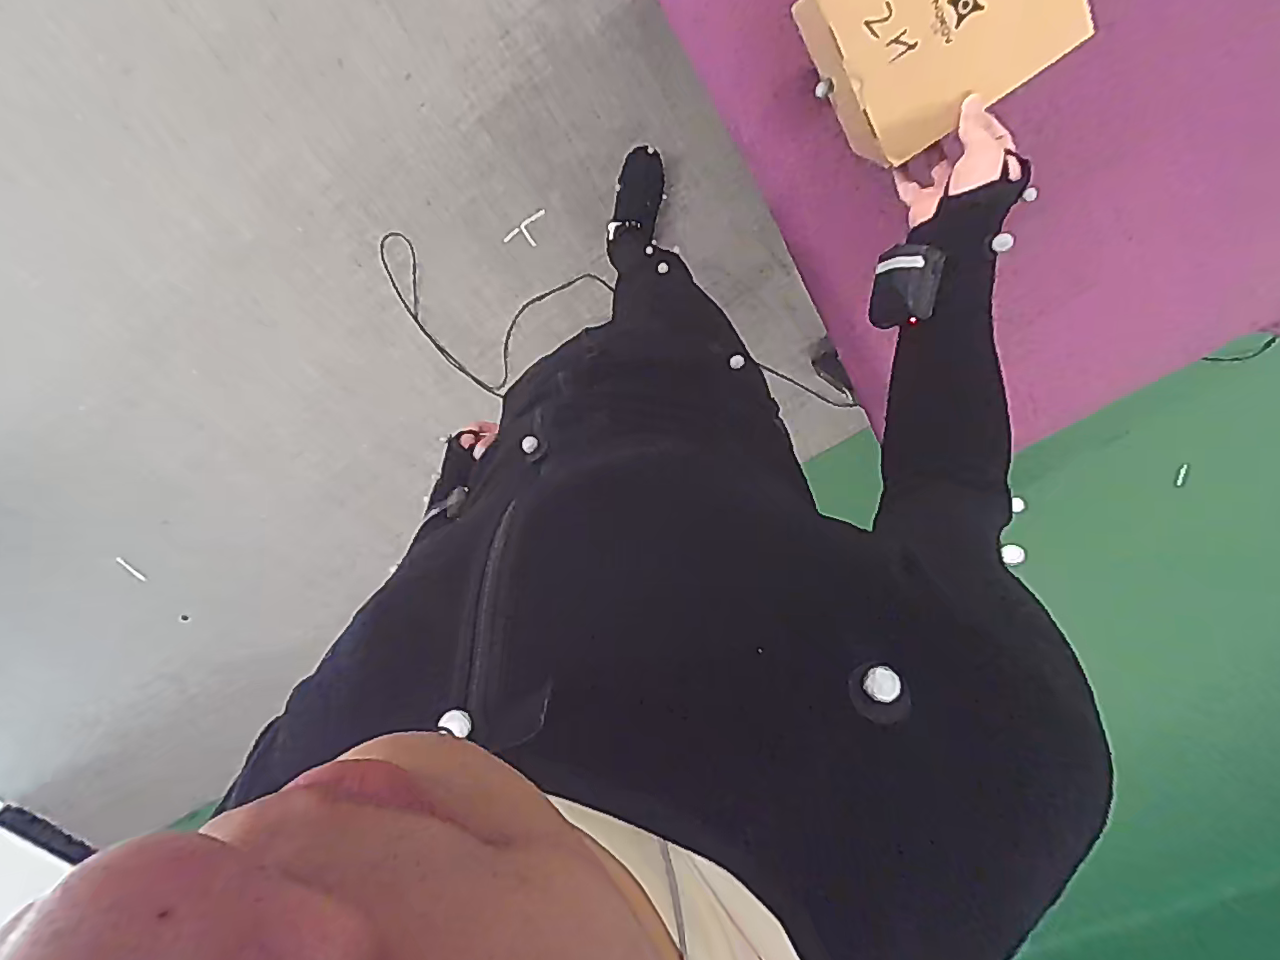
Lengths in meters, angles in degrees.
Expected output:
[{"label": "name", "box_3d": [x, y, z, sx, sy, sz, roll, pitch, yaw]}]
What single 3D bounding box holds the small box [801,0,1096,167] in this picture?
[{"label": "small box", "box_3d": [0.273, -0.439, 0.513, 0.179, 0.176, 0.168, -27, 118, 25]}]
